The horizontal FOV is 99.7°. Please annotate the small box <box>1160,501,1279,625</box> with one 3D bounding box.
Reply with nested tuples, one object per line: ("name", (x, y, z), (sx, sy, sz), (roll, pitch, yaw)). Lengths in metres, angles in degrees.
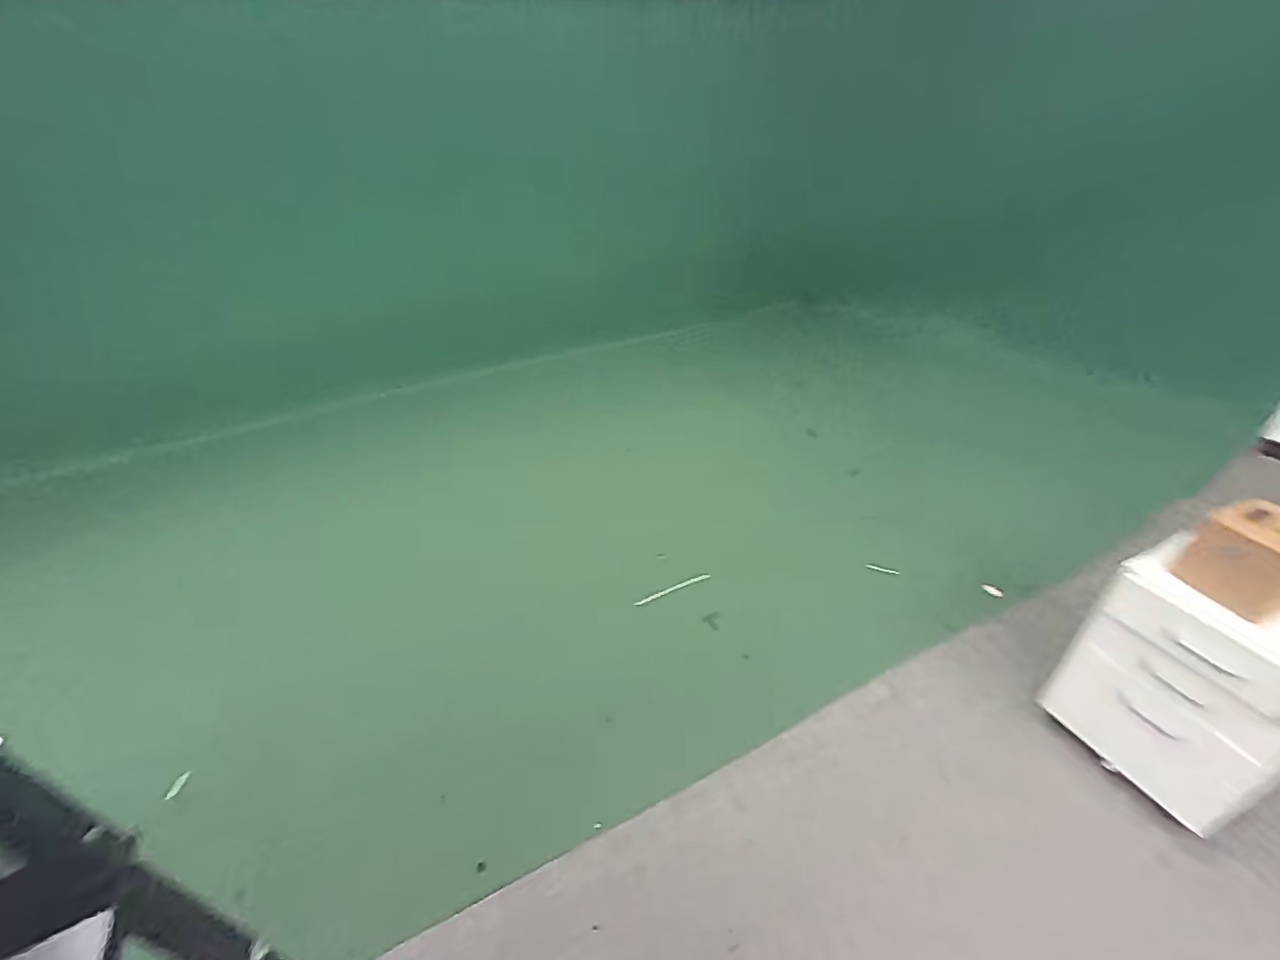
("small box", (1.280, 0.174, 1.146), (0.168, 0.176, 0.179), (-13, 37, -14))
